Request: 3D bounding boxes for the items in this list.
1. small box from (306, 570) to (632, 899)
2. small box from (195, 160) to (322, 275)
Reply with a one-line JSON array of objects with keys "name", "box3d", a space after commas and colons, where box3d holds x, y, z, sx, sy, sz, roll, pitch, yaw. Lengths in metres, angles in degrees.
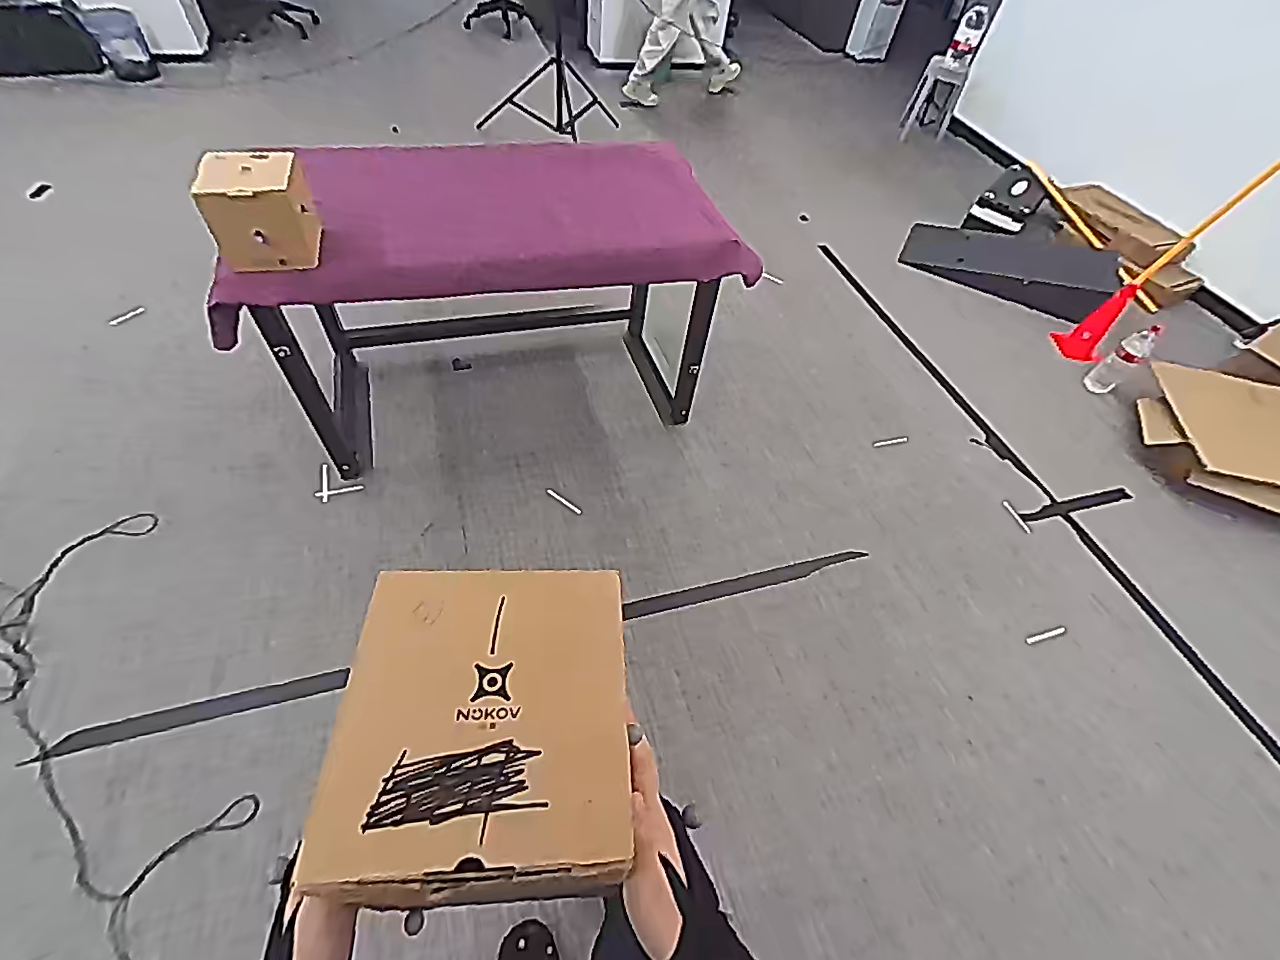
[{"name": "small box", "box3d": [-0.095, 0.182, 0.385, 0.168, 0.176, 0.179, 1, 47, -7]}, {"name": "small box", "box3d": [-0.797, -0.554, 1.151, 0.168, 0.176, 0.179, -9, 55, -15]}]
